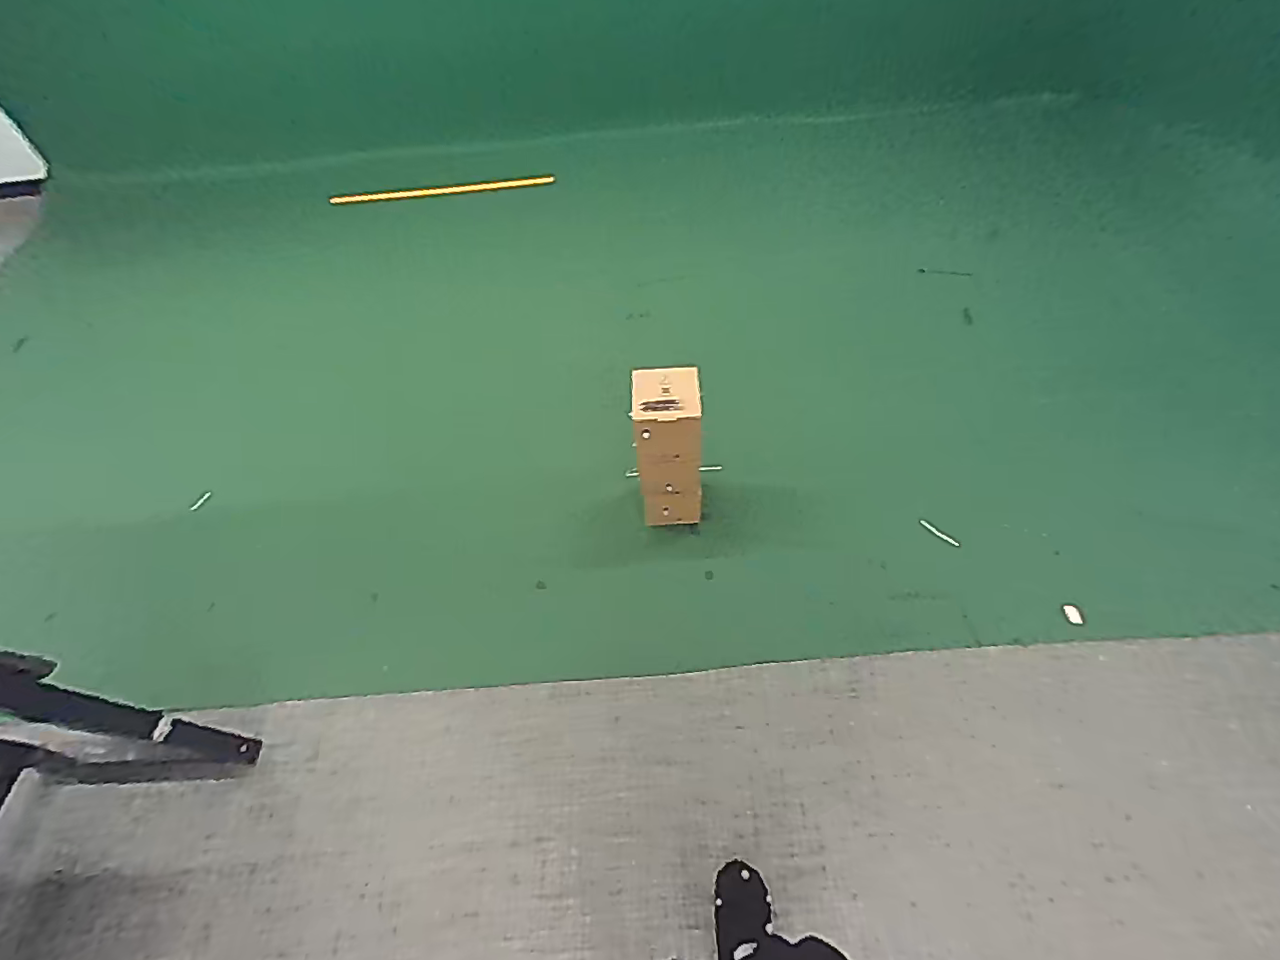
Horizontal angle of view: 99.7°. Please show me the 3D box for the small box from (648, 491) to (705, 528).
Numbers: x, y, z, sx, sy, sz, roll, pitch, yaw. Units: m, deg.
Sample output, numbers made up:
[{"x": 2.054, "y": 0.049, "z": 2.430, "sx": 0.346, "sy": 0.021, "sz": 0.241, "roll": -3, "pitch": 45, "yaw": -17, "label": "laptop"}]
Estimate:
[{"x": 0.112, "y": 0.037, "z": 1.667, "sx": 0.168, "sy": 0.176, "sz": 0.179, "roll": -5, "pitch": 54, "yaw": 3, "label": "small box"}]

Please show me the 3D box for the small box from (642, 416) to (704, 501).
[{"x": 0.094, "y": -0.059, "z": 1.533, "sx": 0.168, "sy": 0.176, "sz": 0.179, "roll": -3, "pitch": 54, "yaw": 5, "label": "small box"}]
